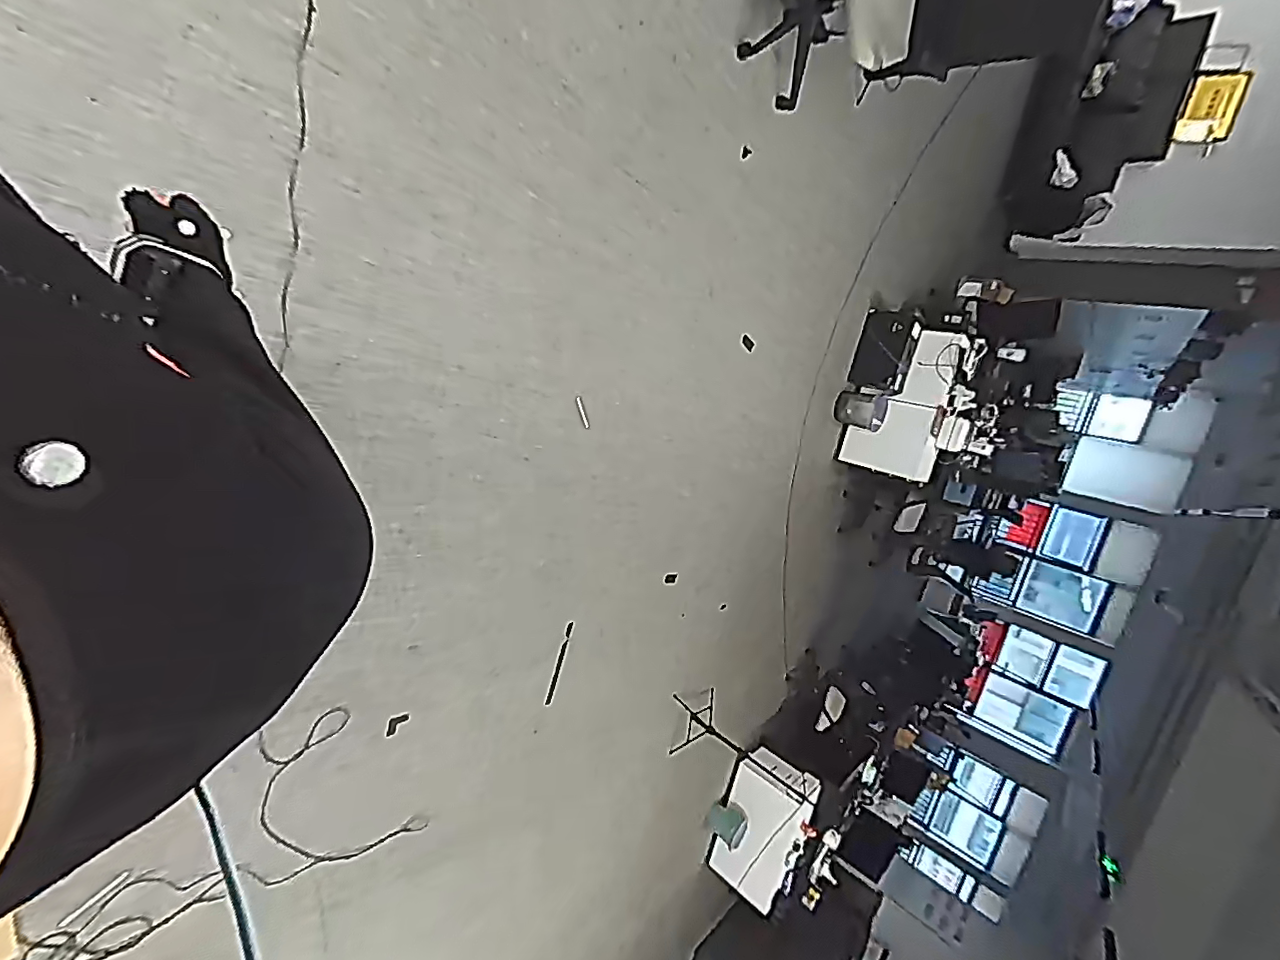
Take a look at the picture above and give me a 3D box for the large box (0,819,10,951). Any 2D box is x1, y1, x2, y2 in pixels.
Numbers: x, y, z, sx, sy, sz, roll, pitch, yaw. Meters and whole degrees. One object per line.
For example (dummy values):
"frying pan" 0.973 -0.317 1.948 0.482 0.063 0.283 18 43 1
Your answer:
"large box" -1.375 0.689 0.895 0.408 0.320 0.320 -7 112 -49
